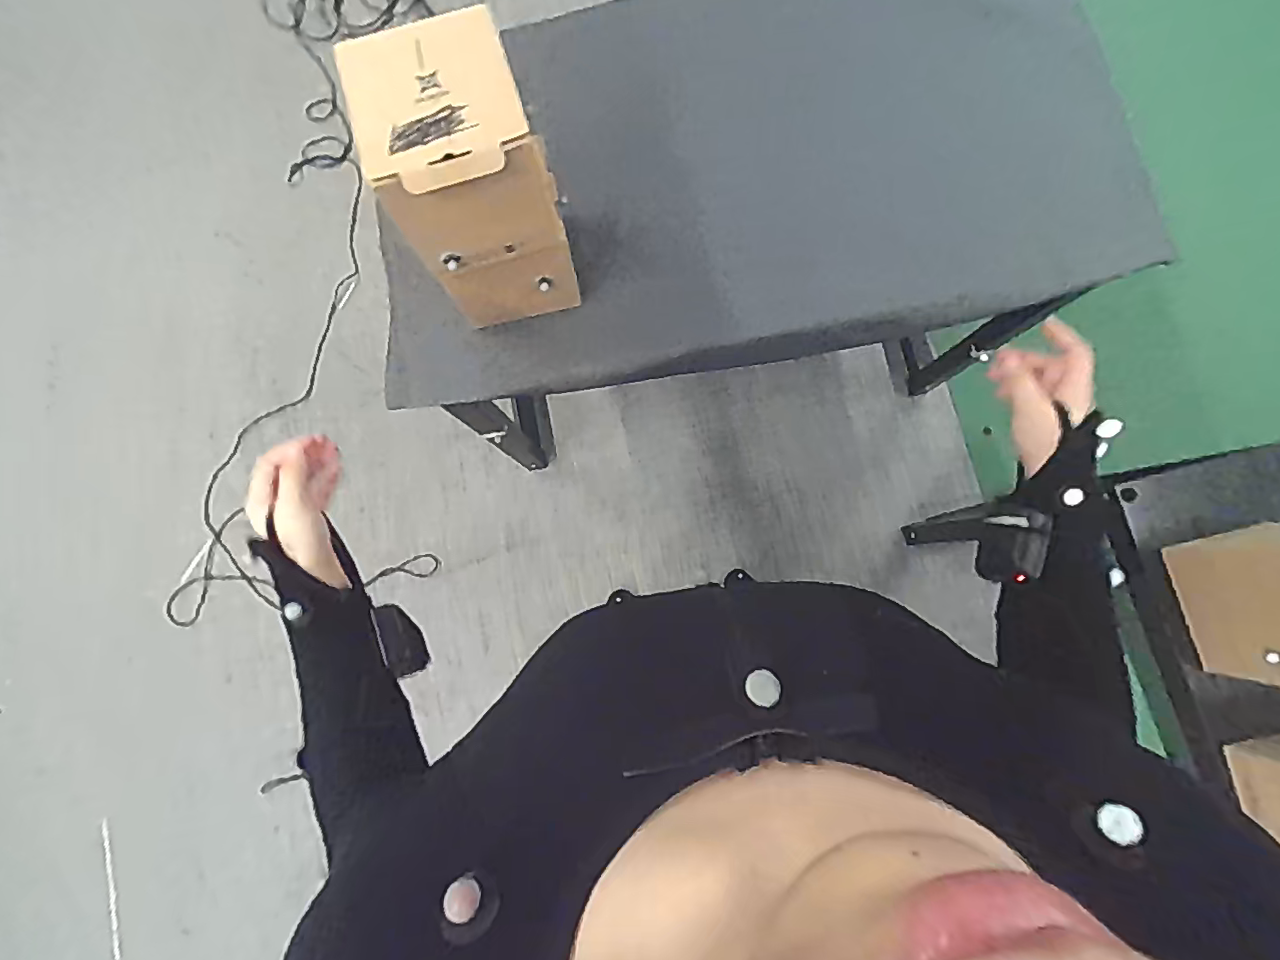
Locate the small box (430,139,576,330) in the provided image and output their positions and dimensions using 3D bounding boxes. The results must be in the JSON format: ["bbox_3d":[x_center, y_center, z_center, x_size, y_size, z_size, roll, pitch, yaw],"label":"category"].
[{"bbox_3d":[-0.195,-0.341,0.779,0.179,0.176,0.168,-14,79,1],"label":"small box"}]

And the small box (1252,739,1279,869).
[{"bbox_3d":[0.885,0.407,0.625,0.179,0.176,0.168,-9,82,1],"label":"small box"}]

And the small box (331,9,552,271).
[{"bbox_3d":[-0.210,-0.365,0.617,0.168,0.176,0.179,-18,78,-2],"label":"small box"}]
